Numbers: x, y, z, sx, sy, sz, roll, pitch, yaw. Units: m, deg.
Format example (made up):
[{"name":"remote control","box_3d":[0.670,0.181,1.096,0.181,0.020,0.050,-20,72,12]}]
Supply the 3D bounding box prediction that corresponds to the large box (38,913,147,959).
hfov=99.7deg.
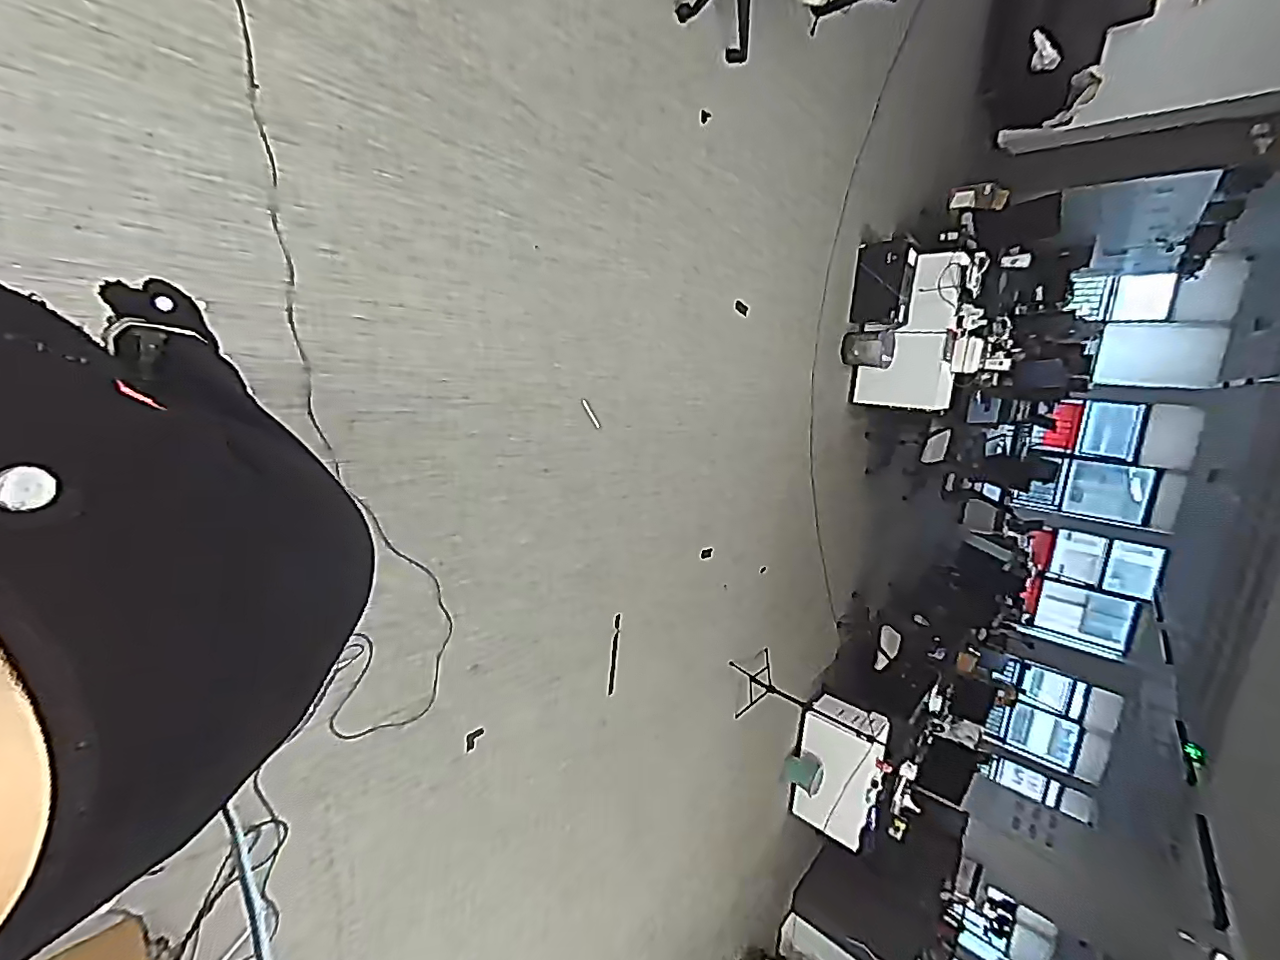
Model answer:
[{"name":"large box","box_3d":[-1.228,1.211,1.066,0.408,0.320,0.320,-9,107,-49]}]
